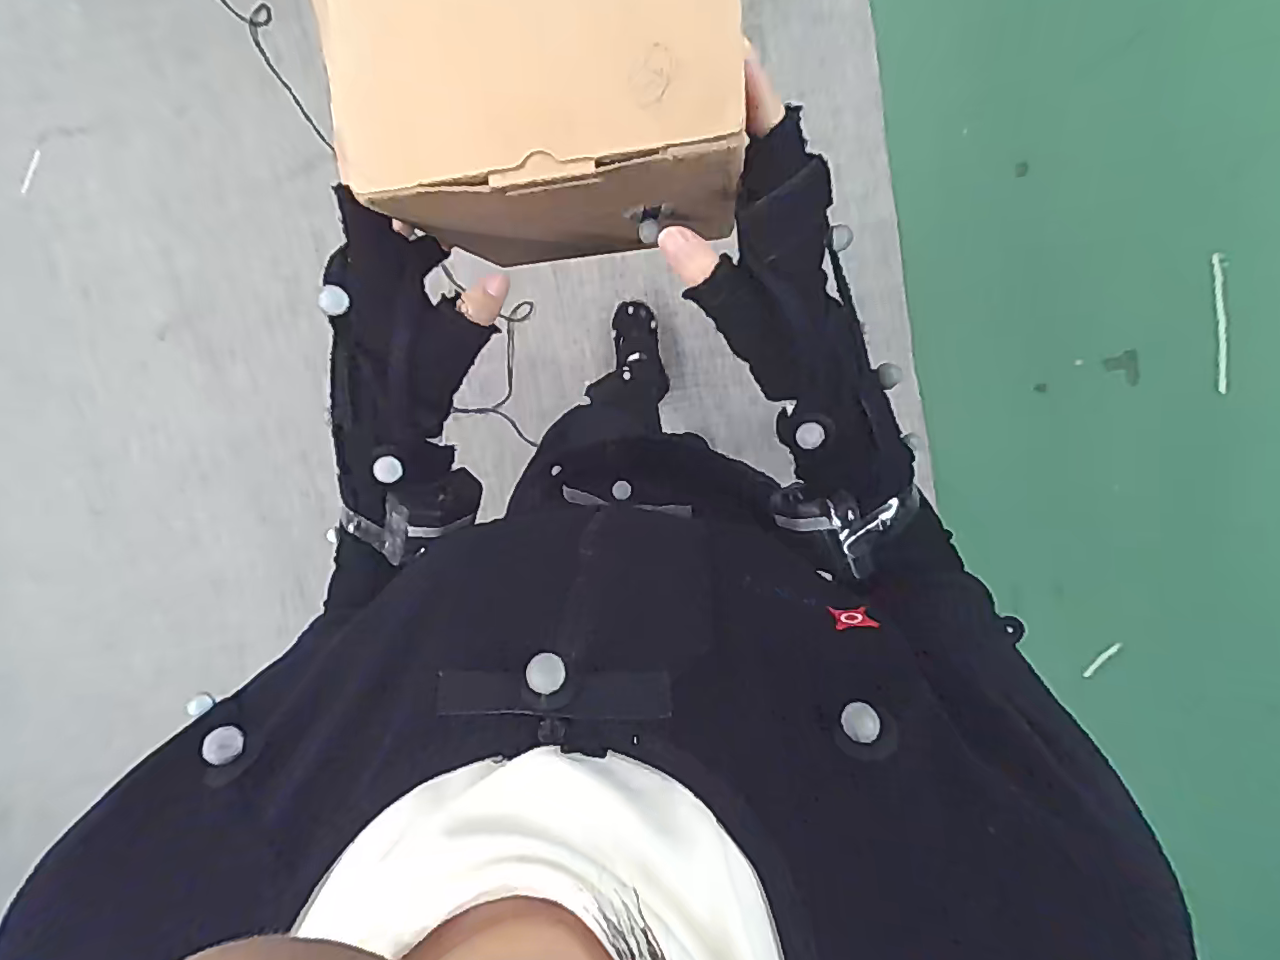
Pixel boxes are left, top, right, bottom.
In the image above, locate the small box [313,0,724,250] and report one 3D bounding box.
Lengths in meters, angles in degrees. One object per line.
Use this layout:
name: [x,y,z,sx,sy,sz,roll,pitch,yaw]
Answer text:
small box: [-0.042,-0.230,0.283,0.168,0.176,0.179,-4,101,7]
